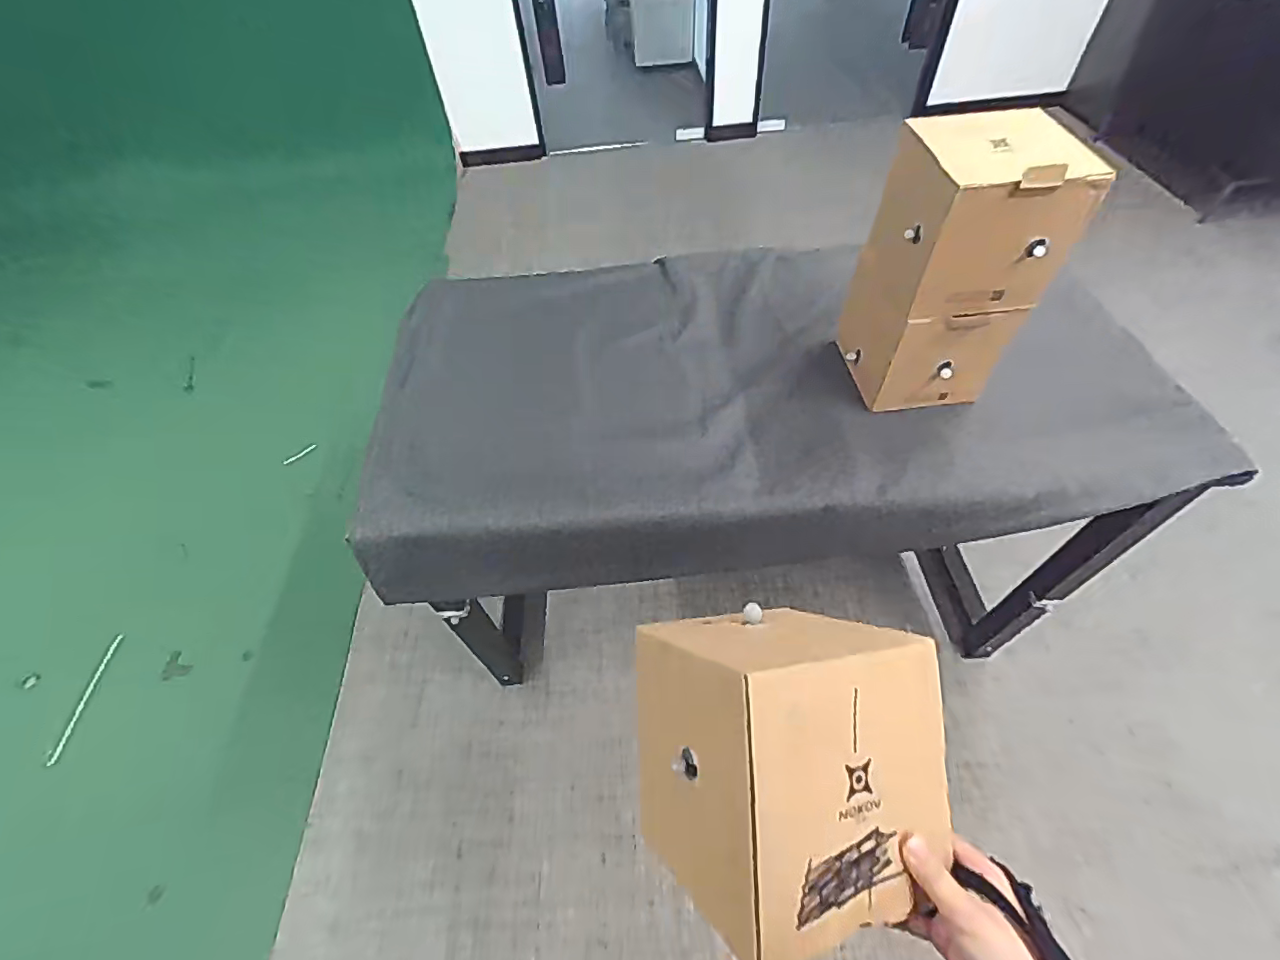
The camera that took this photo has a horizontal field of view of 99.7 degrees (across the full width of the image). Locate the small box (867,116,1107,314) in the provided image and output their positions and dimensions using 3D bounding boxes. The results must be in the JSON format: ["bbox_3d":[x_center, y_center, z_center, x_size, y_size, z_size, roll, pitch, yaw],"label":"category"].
[{"bbox_3d":[0.407,-0.323,0.676,0.168,0.176,0.179,-3,52,1],"label":"small box"}]

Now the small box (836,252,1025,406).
[{"bbox_3d":[0.412,-0.224,0.805,0.168,0.176,0.179,-6,53,-1],"label":"small box"}]

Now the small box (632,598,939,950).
[{"bbox_3d":[0.100,0.196,0.425,0.168,0.176,0.179,1,85,-24],"label":"small box"}]
